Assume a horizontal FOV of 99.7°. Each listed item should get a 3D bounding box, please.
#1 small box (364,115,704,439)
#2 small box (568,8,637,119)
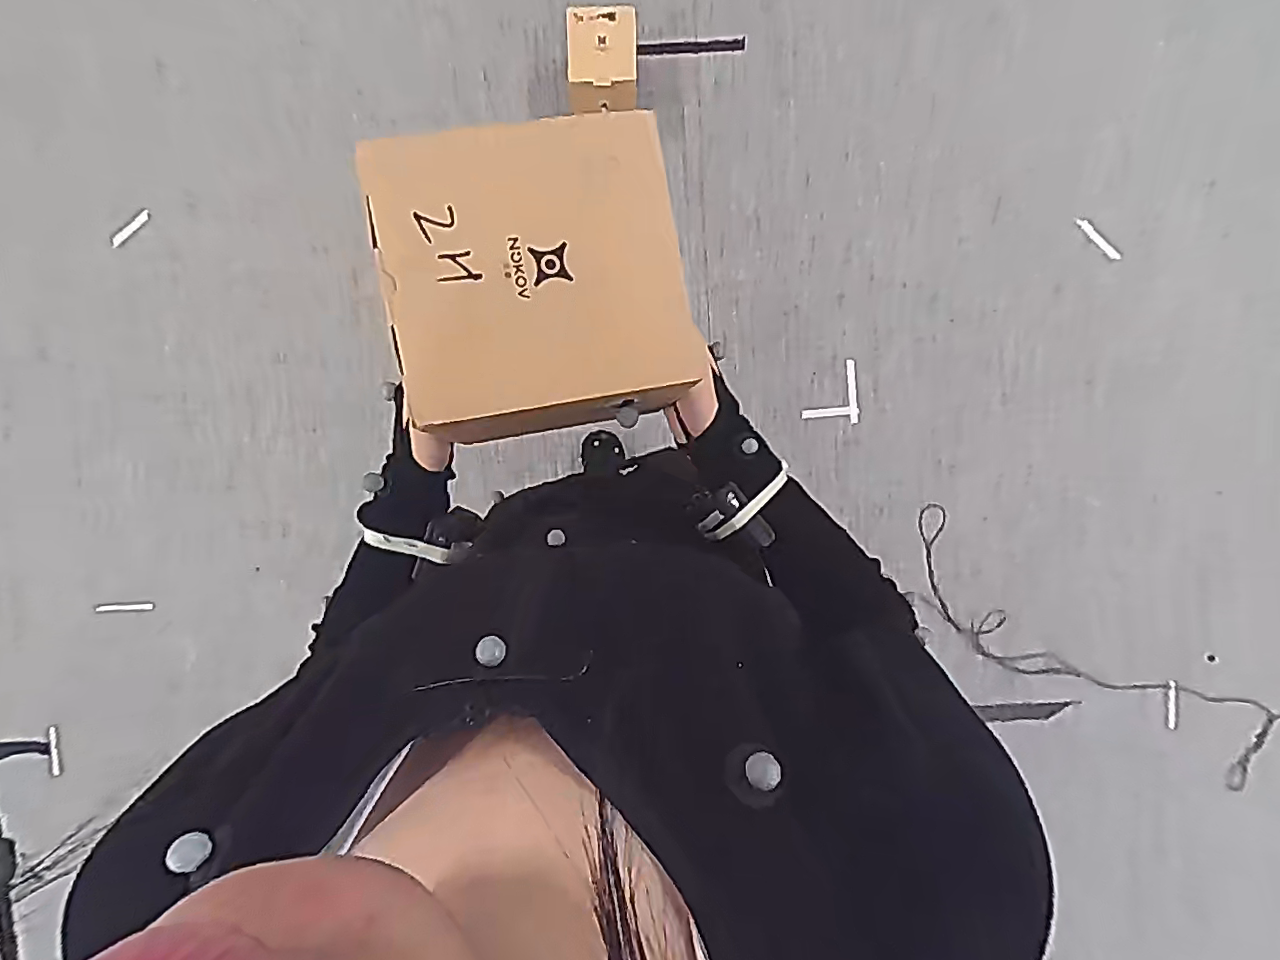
[{"bbox_3d":[-0.069,-0.126,0.395,0.179,0.176,0.168,-10,92,-7],"label":"small box"},{"bbox_3d":[-0.090,-1.032,1.359,0.168,0.176,0.179,-1,93,-1],"label":"small box"}]
